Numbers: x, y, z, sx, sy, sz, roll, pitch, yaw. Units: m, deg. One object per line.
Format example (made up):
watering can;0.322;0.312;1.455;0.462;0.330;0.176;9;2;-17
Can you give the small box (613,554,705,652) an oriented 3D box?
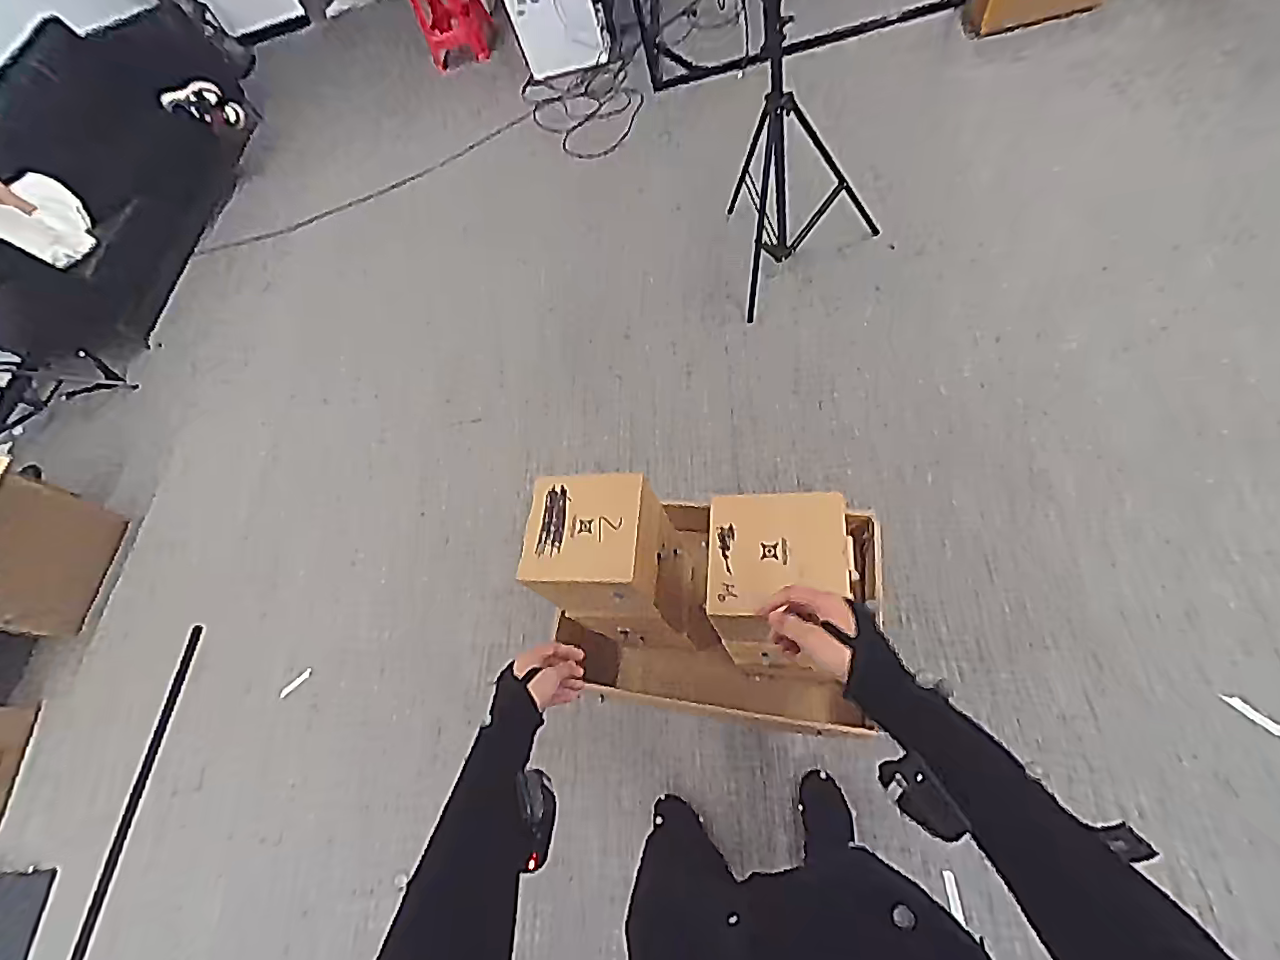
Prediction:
small box;0.031;0.254;1.116;0.179;0.176;0.168;0;64;16

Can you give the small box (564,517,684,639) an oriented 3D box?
small box;-0.019;0.180;0.977;0.168;0.176;0.179;-4;63;16

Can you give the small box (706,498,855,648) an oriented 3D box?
small box;0.192;0.133;0.752;0.179;0.176;0.168;-1;62;15

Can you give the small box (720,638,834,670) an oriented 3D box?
small box;0.231;0.208;0.892;0.168;0.176;0.179;0;63;17
